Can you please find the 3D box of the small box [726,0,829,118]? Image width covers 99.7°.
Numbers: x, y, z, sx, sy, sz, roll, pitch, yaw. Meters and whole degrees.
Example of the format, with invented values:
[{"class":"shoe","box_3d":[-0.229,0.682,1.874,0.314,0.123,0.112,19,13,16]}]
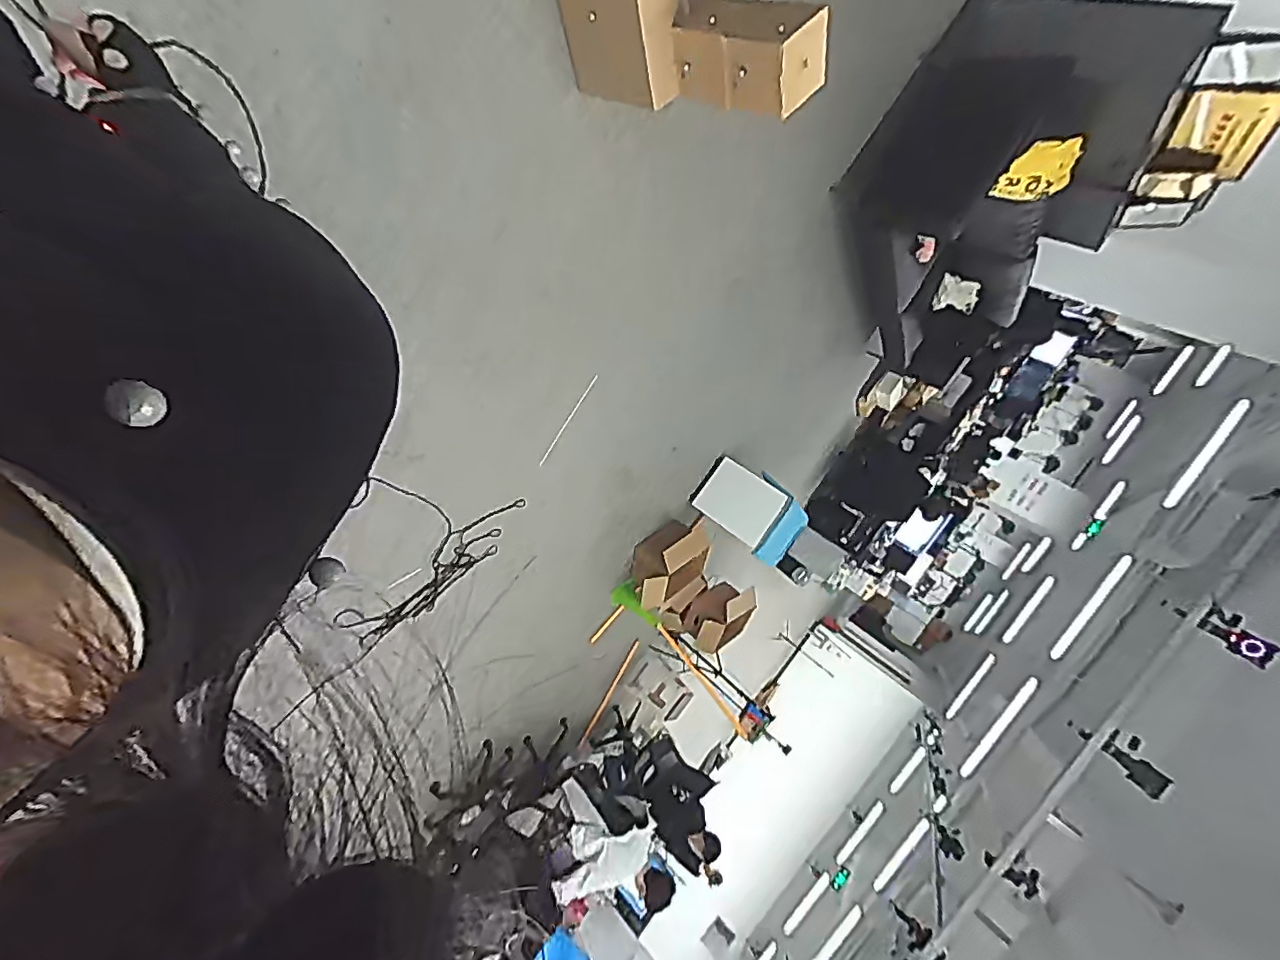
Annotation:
[{"class":"small box","box_3d":[0.332,-1.029,1.317,0.179,0.176,0.168,-46,150,-13]}]
